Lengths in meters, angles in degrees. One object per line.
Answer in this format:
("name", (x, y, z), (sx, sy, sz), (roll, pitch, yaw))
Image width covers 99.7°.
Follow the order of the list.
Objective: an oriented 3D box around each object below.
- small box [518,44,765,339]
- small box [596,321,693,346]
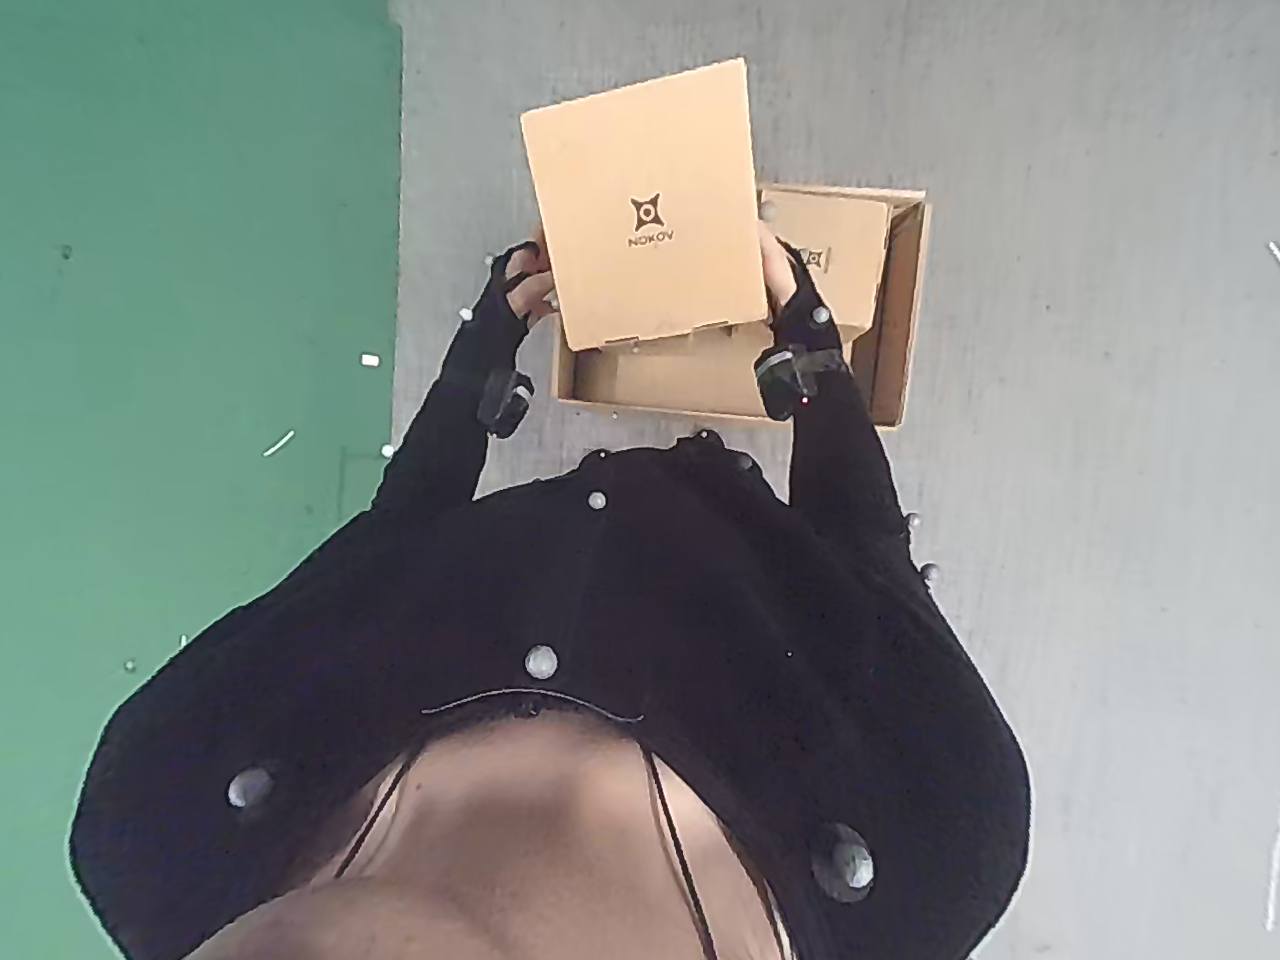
("small box", (0.013, -0.232, 0.475), (0.168, 0.176, 0.179), (-7, 111, 10))
("small box", (0.001, -0.303, 0.814), (0.168, 0.176, 0.179), (5, 95, 5))
